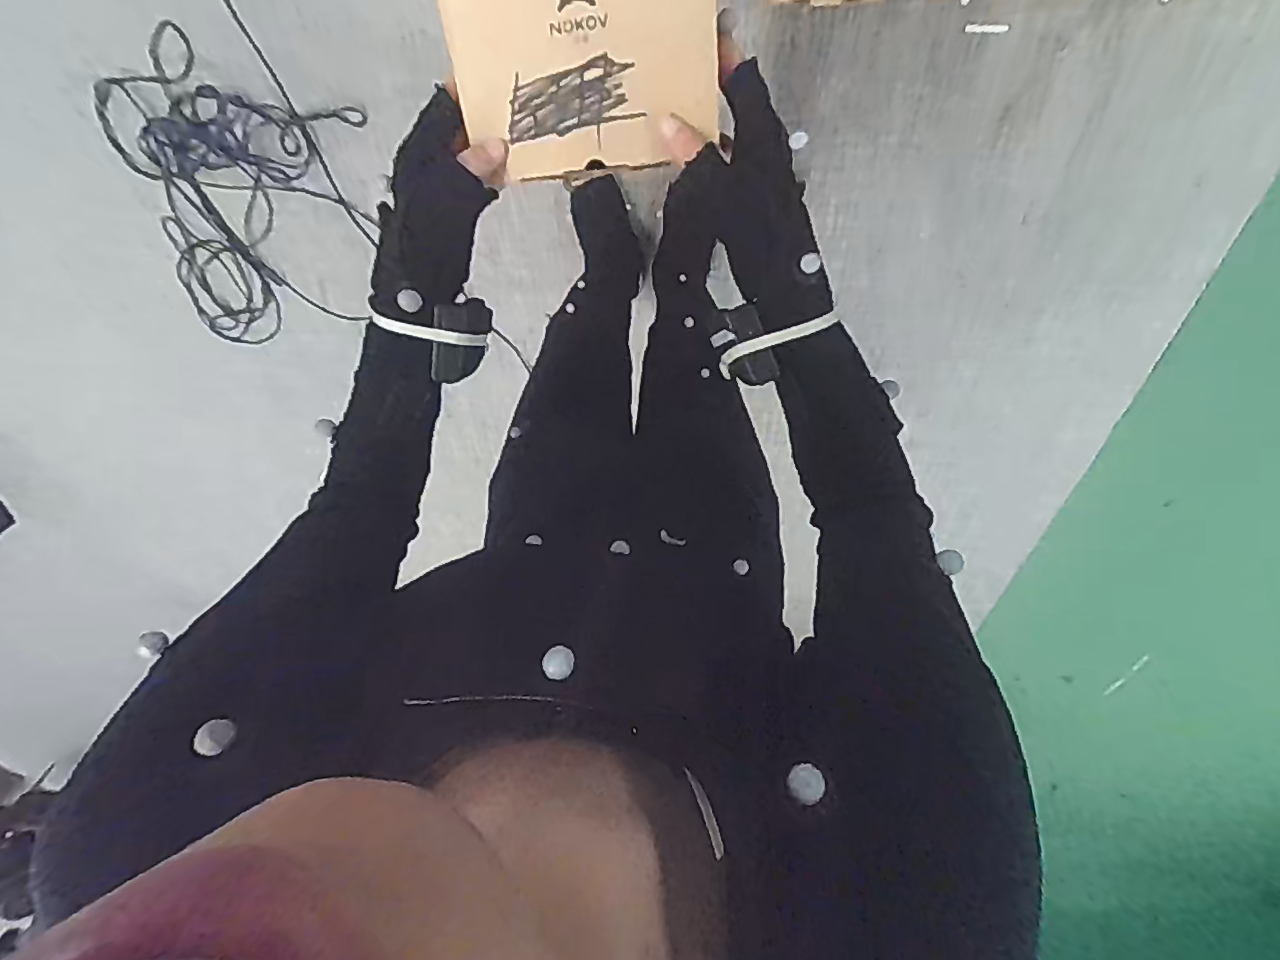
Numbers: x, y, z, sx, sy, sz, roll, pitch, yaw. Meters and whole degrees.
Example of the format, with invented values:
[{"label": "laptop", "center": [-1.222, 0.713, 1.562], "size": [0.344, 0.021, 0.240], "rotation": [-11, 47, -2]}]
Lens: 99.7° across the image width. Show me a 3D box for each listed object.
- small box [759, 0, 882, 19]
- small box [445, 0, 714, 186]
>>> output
[{"label": "small box", "center": [0.272, -0.798, 0.798], "size": [0.168, 0.176, 0.179], "rotation": [2, 131, 4]}, {"label": "small box", "center": [-0.030, -0.328, 0.401], "size": [0.168, 0.176, 0.179], "rotation": [-1, 120, 8]}]
